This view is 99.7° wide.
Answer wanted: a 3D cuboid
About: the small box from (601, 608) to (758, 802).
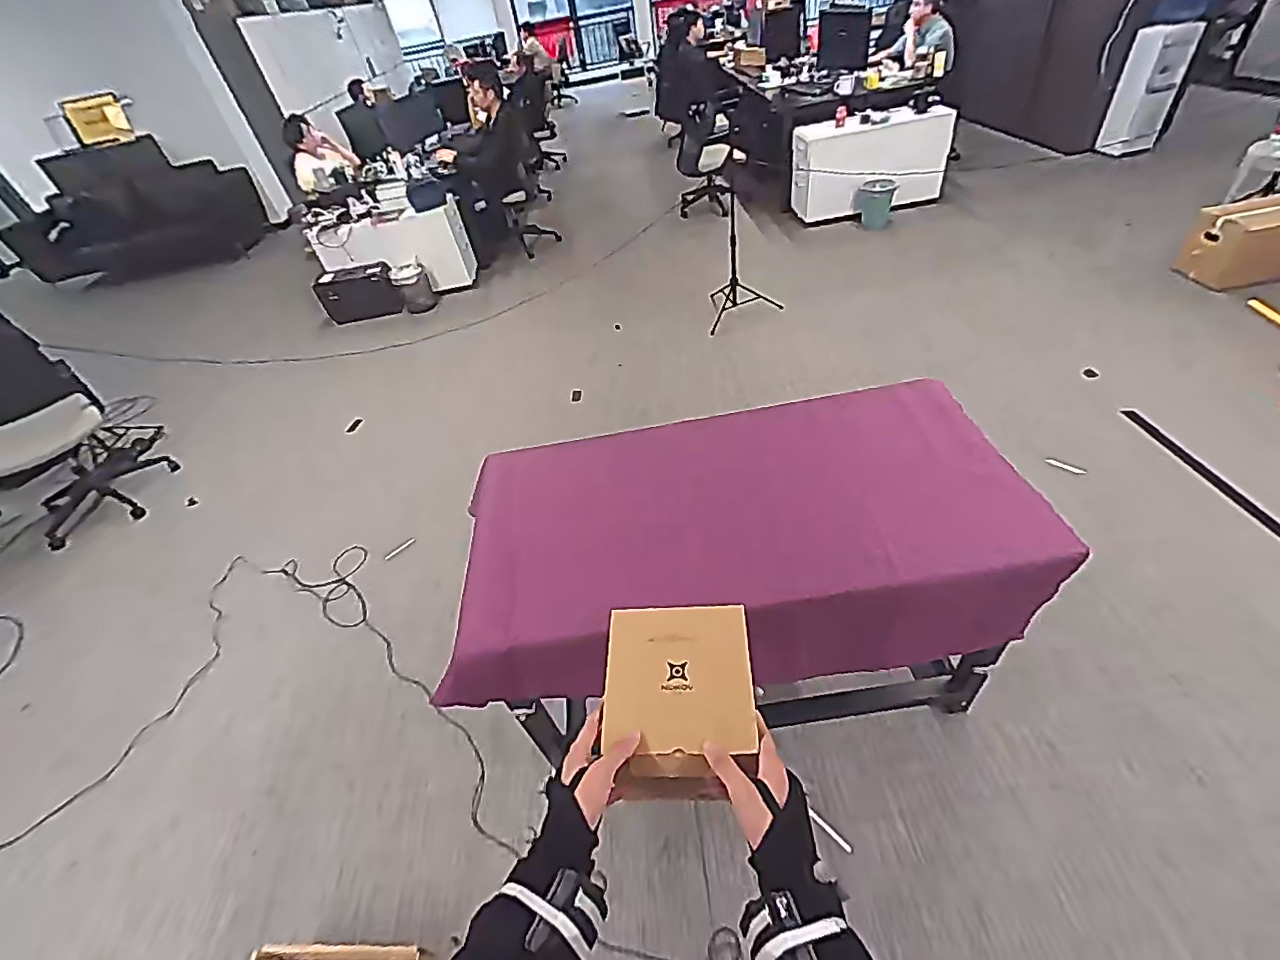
[{"bbox_3d":[0.055,0.277,0.662,0.168,0.176,0.179,-3,45,7],"label":"small box"}]
